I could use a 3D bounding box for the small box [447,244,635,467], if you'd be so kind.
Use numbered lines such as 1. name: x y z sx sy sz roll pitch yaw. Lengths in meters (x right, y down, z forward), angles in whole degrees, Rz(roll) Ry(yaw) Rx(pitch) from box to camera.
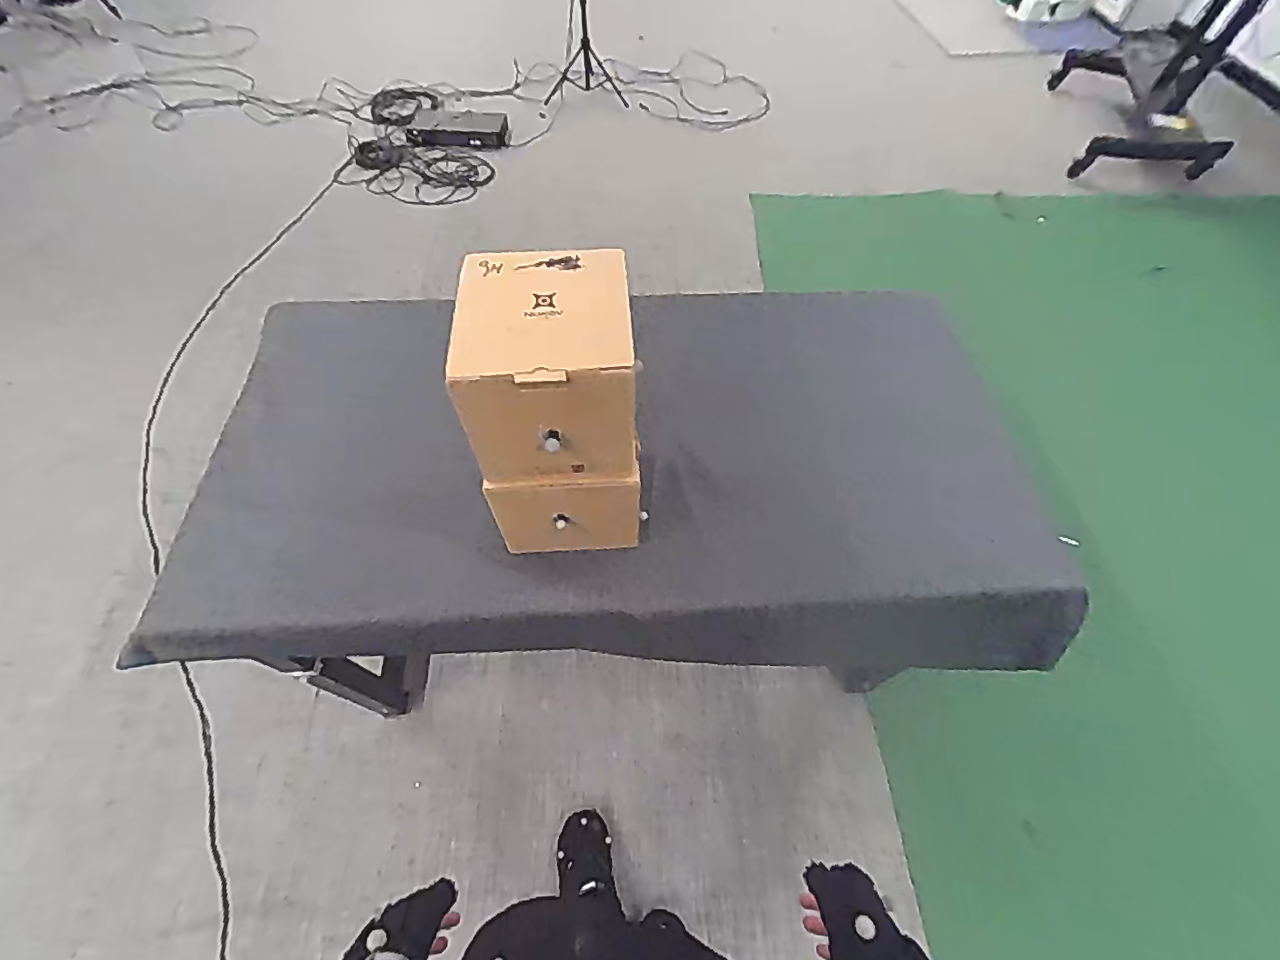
1. small box: -0.091 -0.123 0.578 0.168 0.176 0.179 -3 59 -3

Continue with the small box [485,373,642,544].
1. small box: -0.091 -0.026 0.709 0.179 0.176 0.168 -3 58 -2
